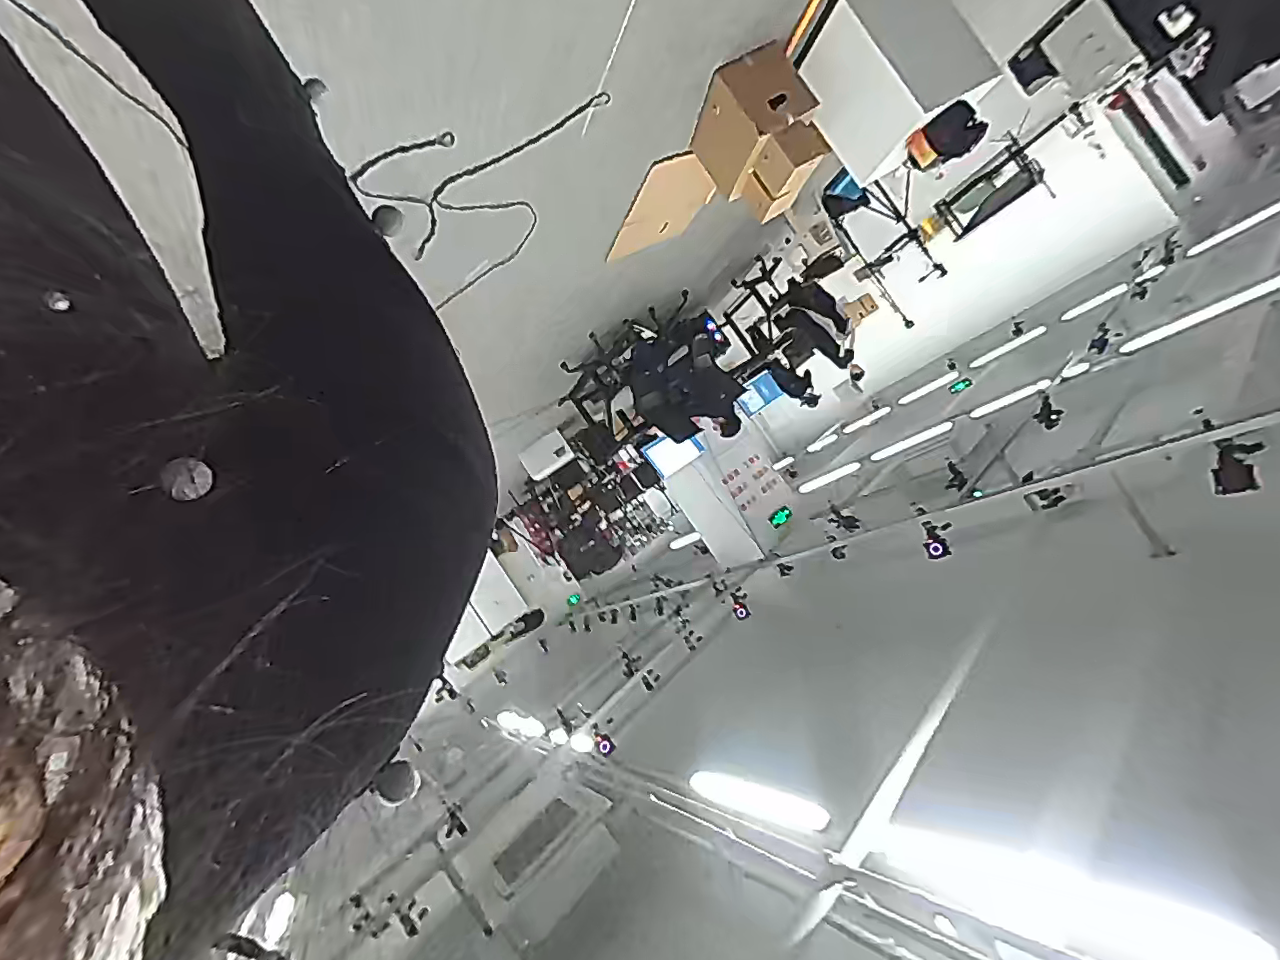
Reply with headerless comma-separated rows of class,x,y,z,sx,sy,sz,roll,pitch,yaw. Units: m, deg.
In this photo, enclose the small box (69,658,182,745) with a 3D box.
small box,-1.484,0.637,1.568,0.168,0.176,0.179,-34,179,-36
